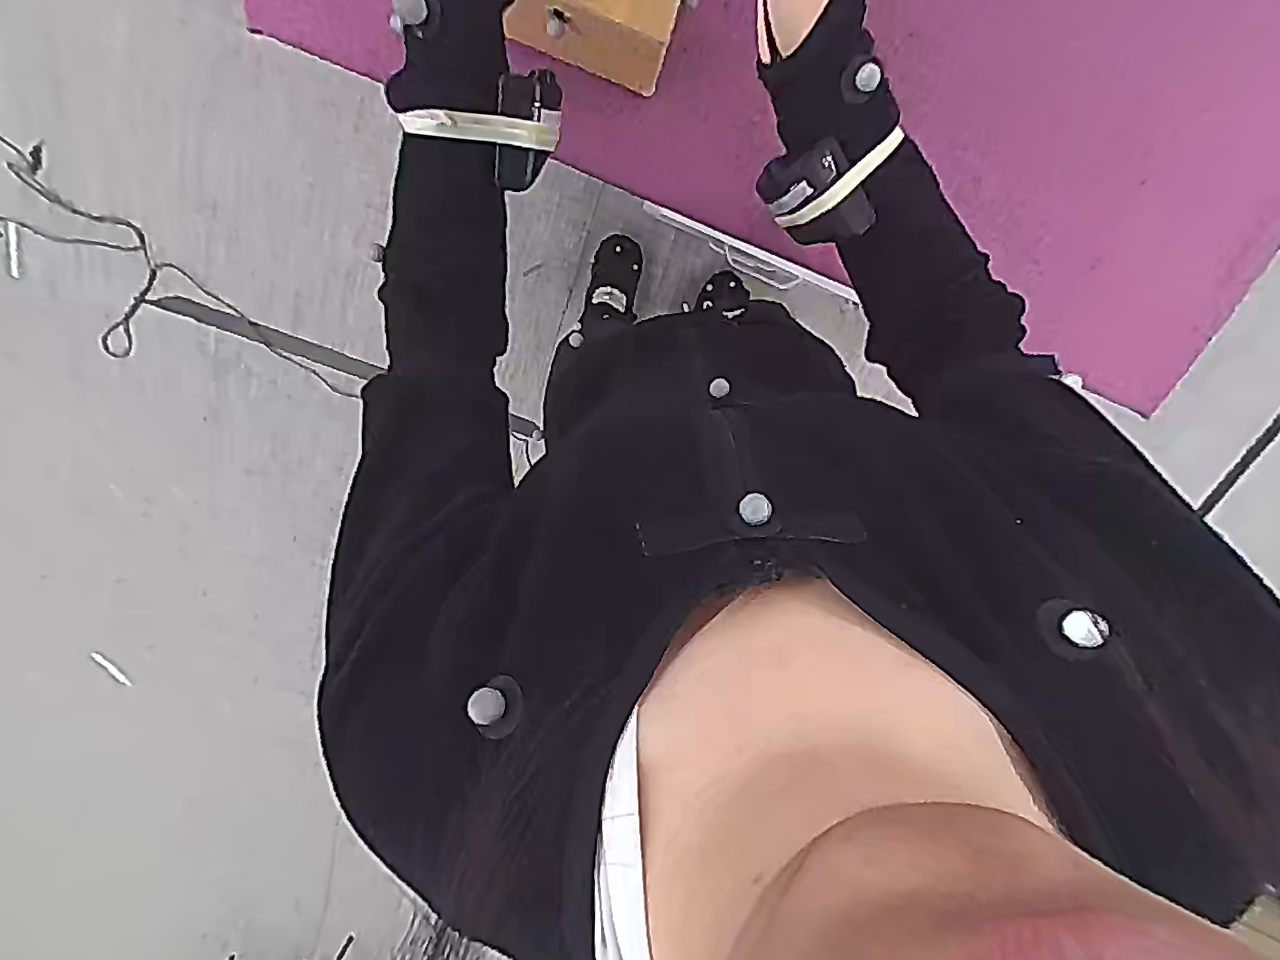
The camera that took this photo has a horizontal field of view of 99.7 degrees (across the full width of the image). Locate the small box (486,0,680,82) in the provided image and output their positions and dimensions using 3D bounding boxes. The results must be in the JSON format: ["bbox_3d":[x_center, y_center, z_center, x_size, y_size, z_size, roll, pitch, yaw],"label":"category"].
[{"bbox_3d":[-0.037,-0.486,0.474,0.179,0.176,0.168,17,111,-9],"label":"small box"}]
